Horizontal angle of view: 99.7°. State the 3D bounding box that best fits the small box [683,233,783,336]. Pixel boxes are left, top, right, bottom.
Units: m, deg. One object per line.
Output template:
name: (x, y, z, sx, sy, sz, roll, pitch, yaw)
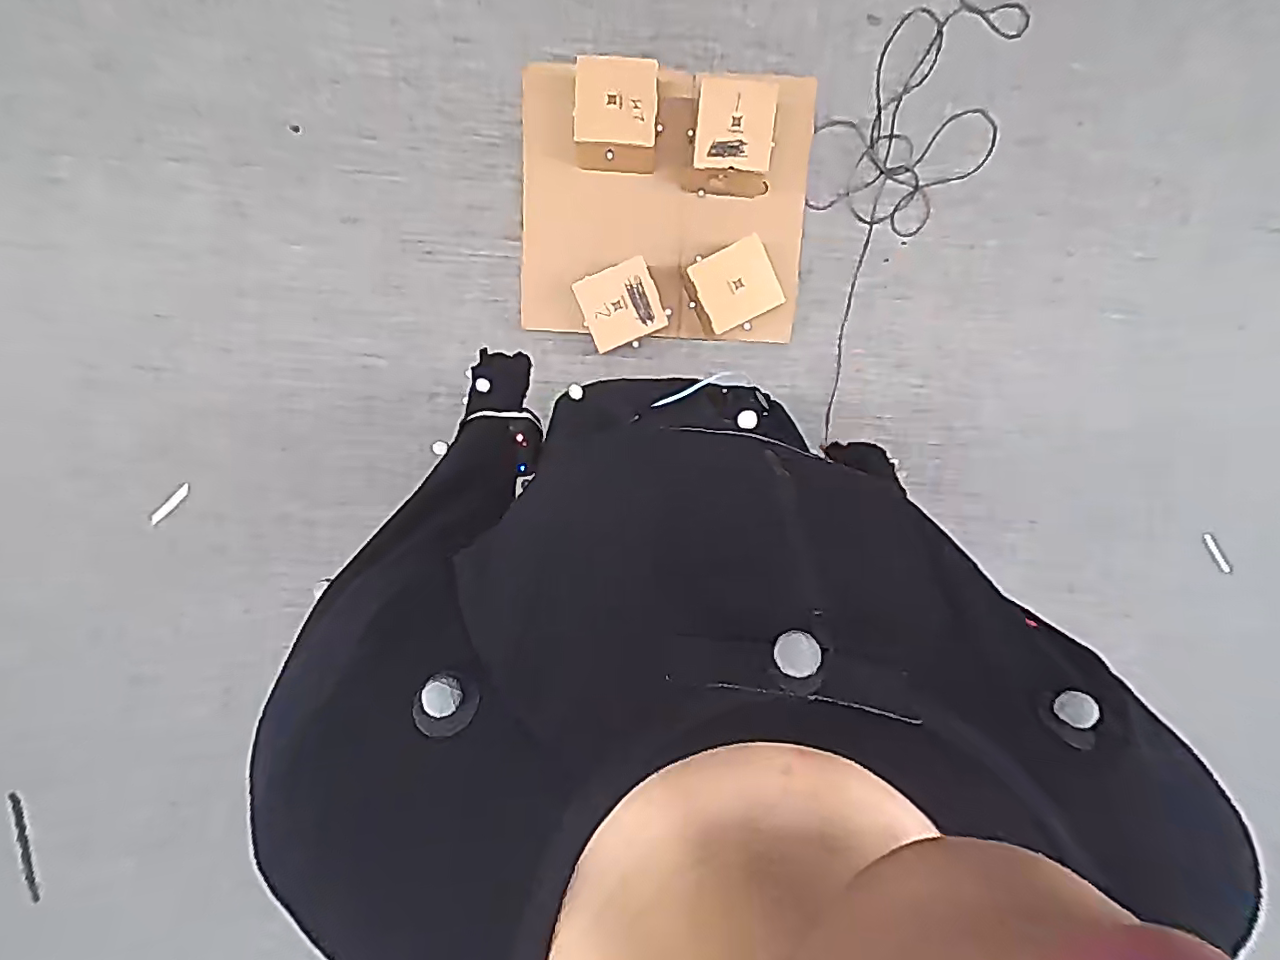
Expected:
small box: (0.216, -0.462, 1.300, 0.179, 0.176, 0.168, -25, 100, 6)
